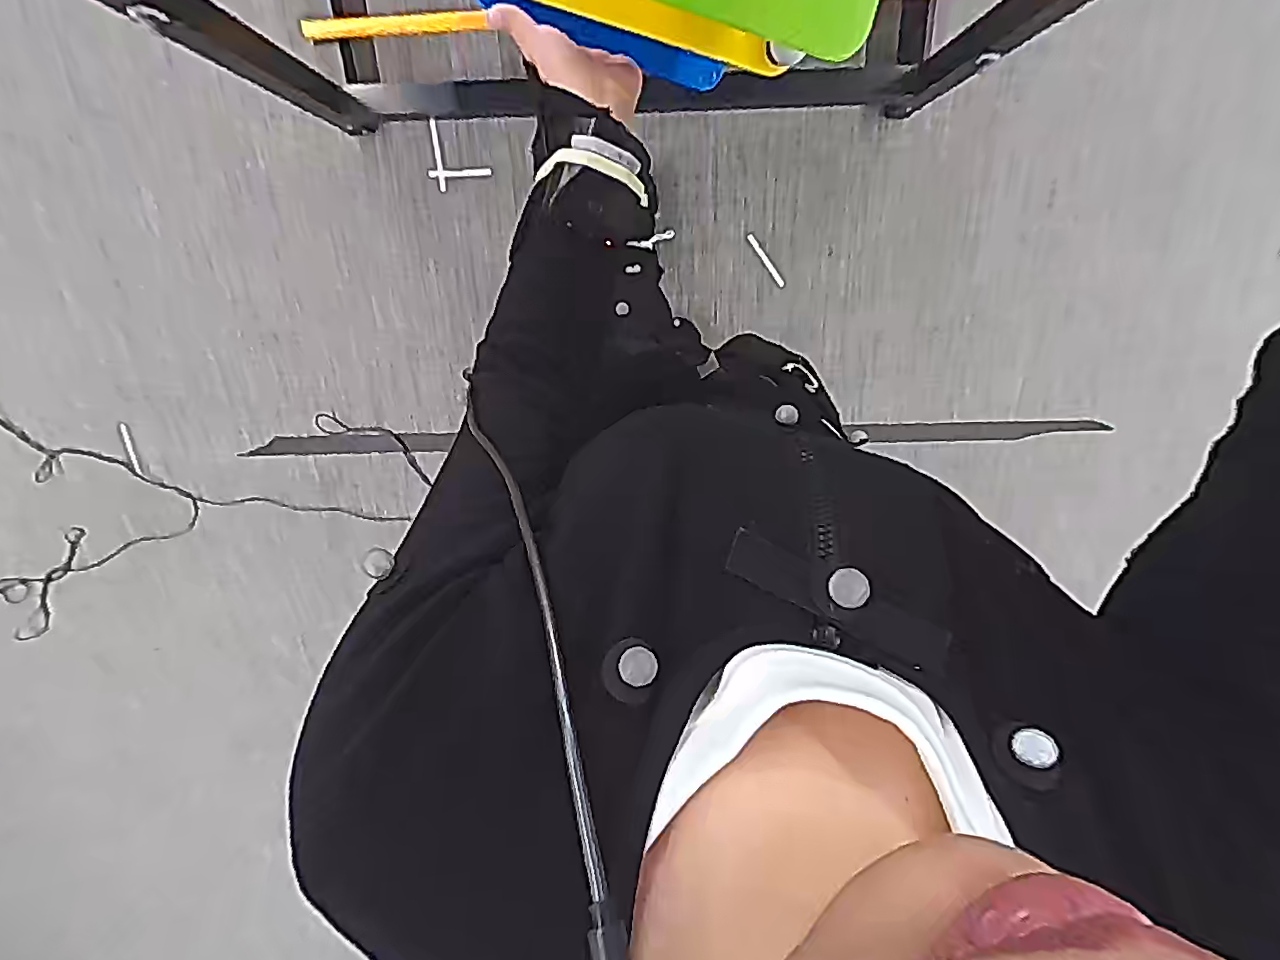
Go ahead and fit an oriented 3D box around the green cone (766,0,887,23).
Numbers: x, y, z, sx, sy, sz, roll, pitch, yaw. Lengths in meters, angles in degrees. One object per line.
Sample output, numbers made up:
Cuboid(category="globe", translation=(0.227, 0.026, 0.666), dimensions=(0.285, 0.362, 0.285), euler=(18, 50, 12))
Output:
Cuboid(category="green cone", translation=(0.083, -0.270, 0.074), dimensions=(0.200, 0.368, 0.202), euler=(5, 112, -14))
